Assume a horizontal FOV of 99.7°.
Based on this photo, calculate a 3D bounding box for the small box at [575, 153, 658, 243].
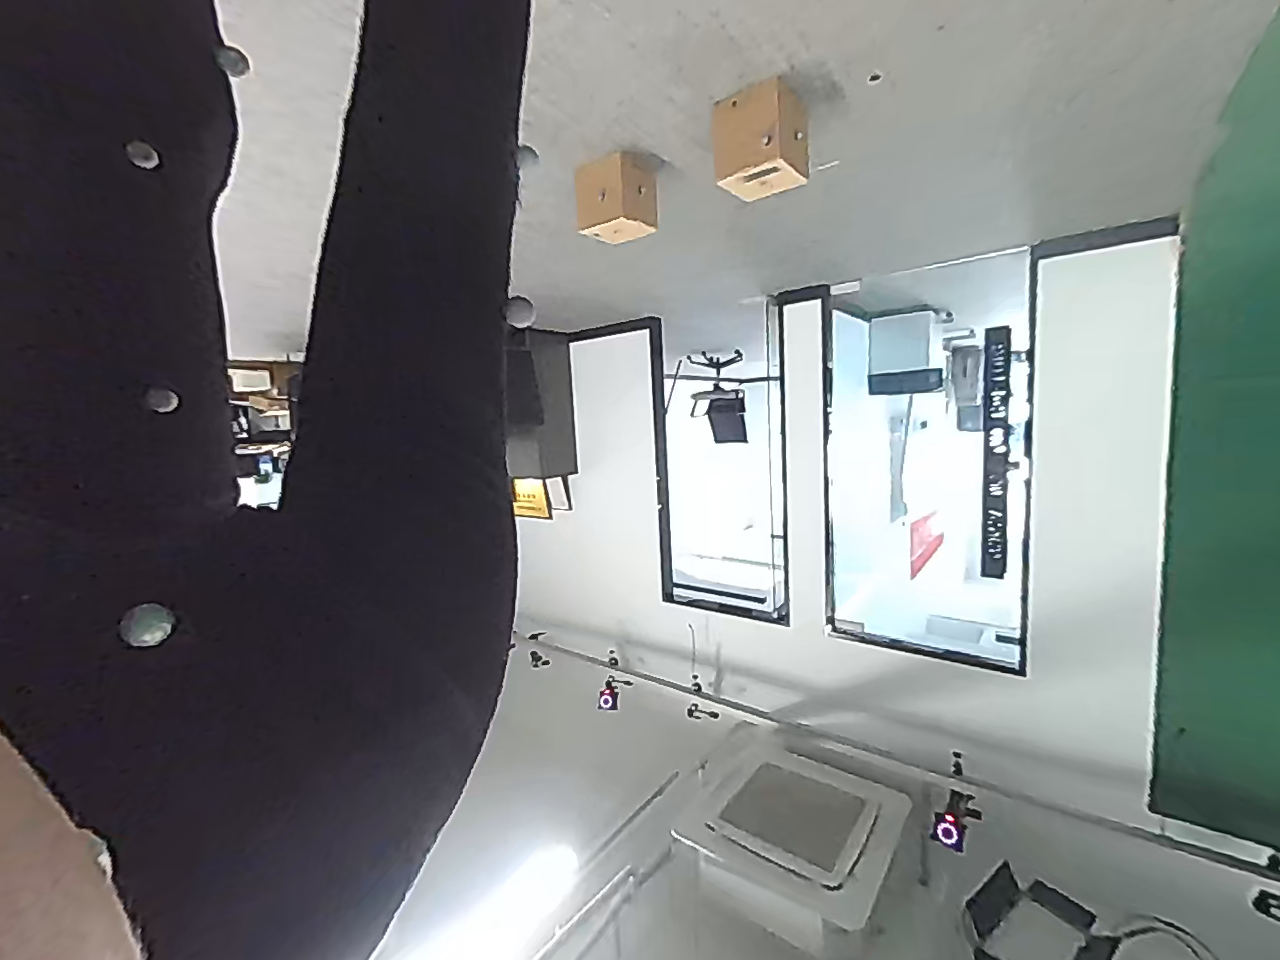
[{"bbox_3d":[-0.069,-0.798,1.538,0.179,0.176,0.168,1,-172,37],"label":"small box"}]
